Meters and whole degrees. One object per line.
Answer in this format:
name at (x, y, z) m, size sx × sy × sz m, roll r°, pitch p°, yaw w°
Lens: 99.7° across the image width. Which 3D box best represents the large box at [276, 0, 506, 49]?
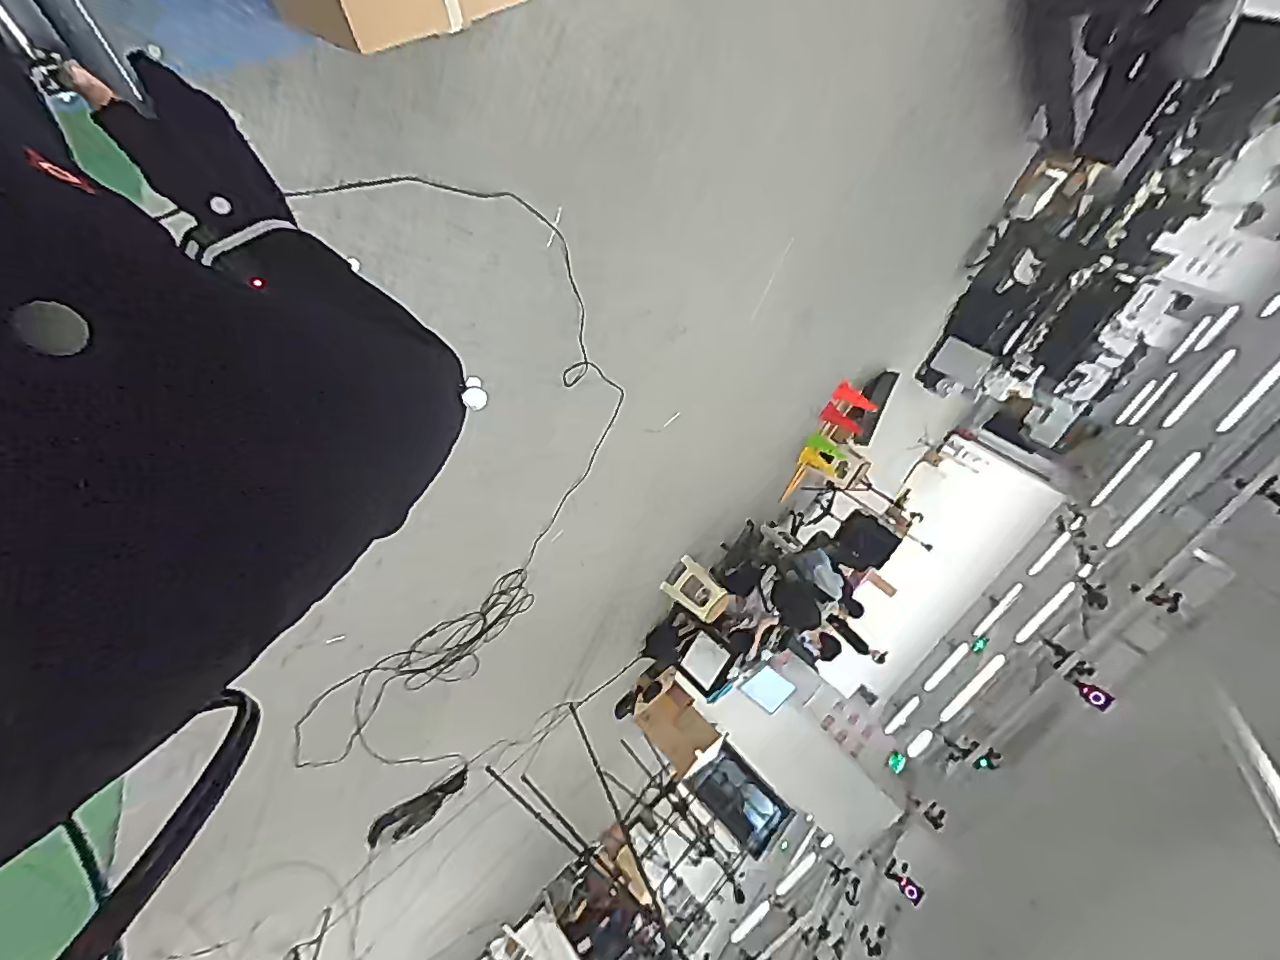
large box at (-0.408, -0.895, 0.734) m, size 0.320 × 0.320 × 0.408 m, roll -39°, pitch 149°, yaw -21°
